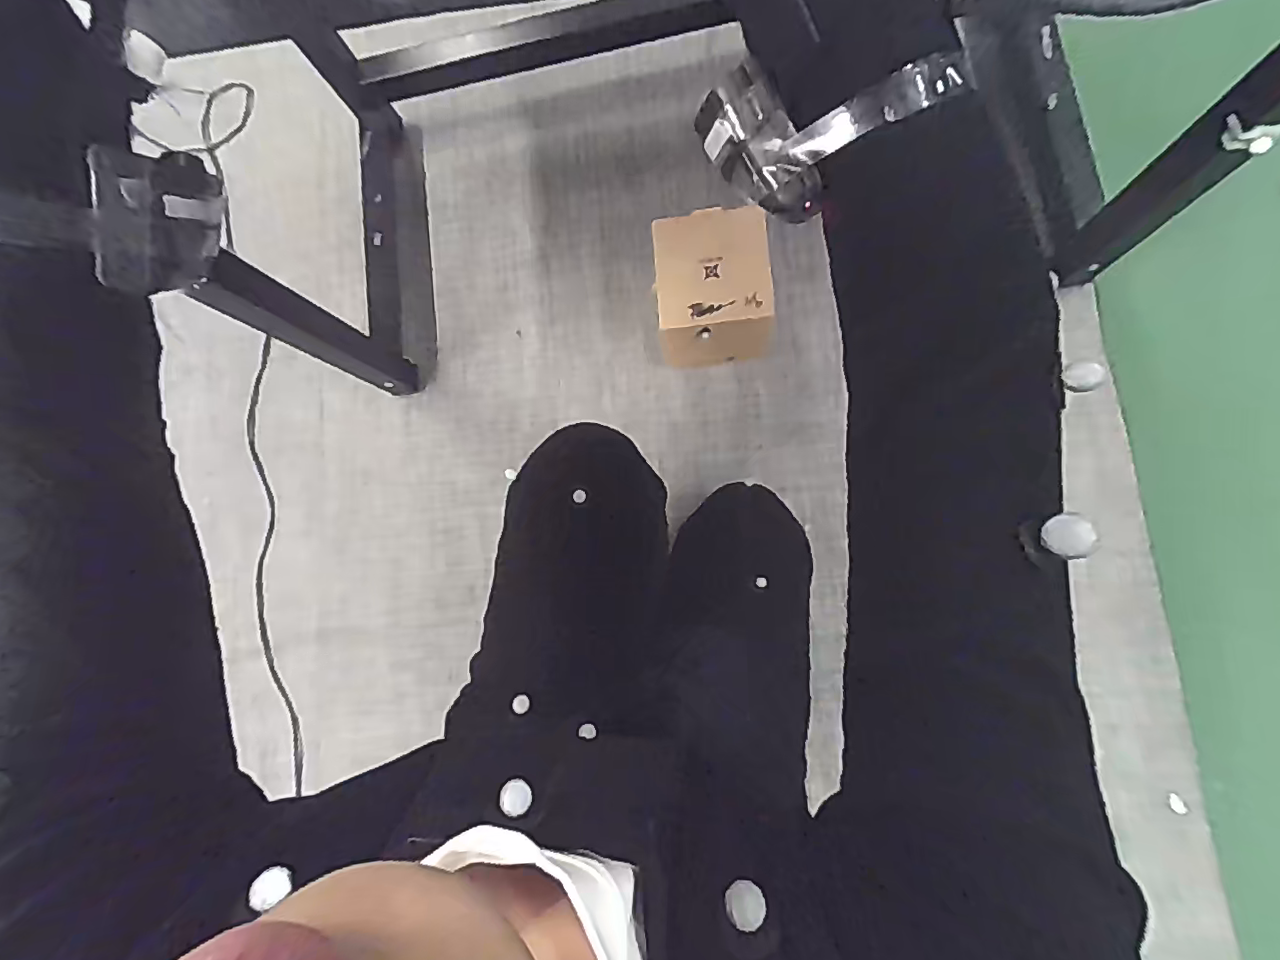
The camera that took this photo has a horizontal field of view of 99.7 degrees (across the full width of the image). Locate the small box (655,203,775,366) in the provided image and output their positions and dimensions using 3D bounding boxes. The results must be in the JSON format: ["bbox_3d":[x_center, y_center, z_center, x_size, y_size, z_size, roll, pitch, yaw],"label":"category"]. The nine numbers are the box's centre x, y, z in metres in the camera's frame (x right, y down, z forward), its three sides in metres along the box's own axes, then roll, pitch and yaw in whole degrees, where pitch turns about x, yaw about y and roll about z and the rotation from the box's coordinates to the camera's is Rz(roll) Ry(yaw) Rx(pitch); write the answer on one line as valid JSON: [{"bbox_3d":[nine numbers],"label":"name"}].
[{"bbox_3d":[0.118,-0.300,0.860,0.168,0.176,0.179,-5,80,9],"label":"small box"}]
